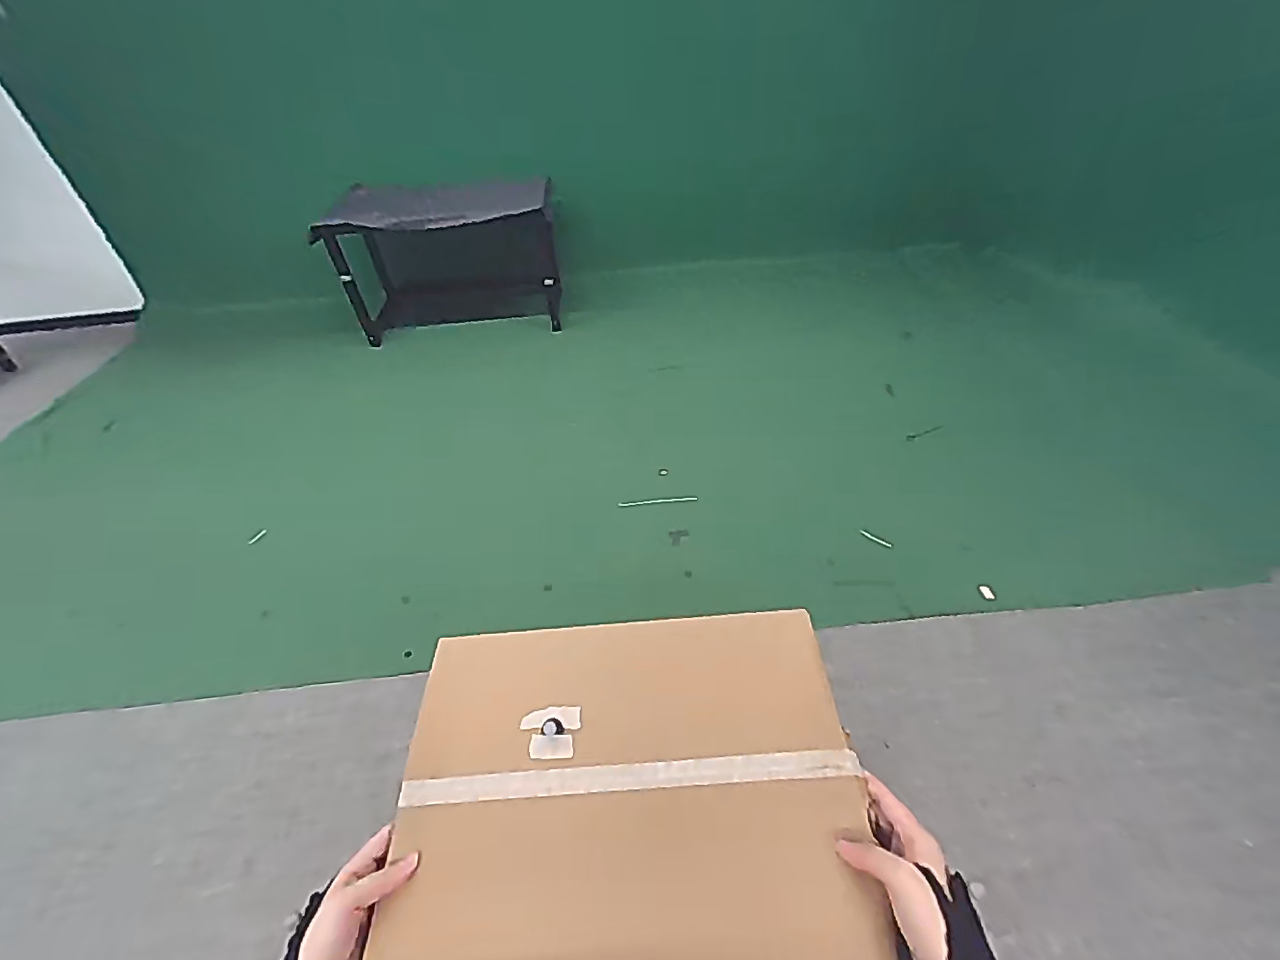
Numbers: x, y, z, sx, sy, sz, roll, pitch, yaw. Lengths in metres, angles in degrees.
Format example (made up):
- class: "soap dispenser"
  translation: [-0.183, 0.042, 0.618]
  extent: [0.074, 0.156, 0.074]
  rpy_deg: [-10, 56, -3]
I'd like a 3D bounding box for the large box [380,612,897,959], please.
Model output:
- class: "large box"
  translation: [0.004, 0.379, 0.601]
  extent: [0.408, 0.320, 0.320]
  rpy_deg: [-7, 45, 4]
